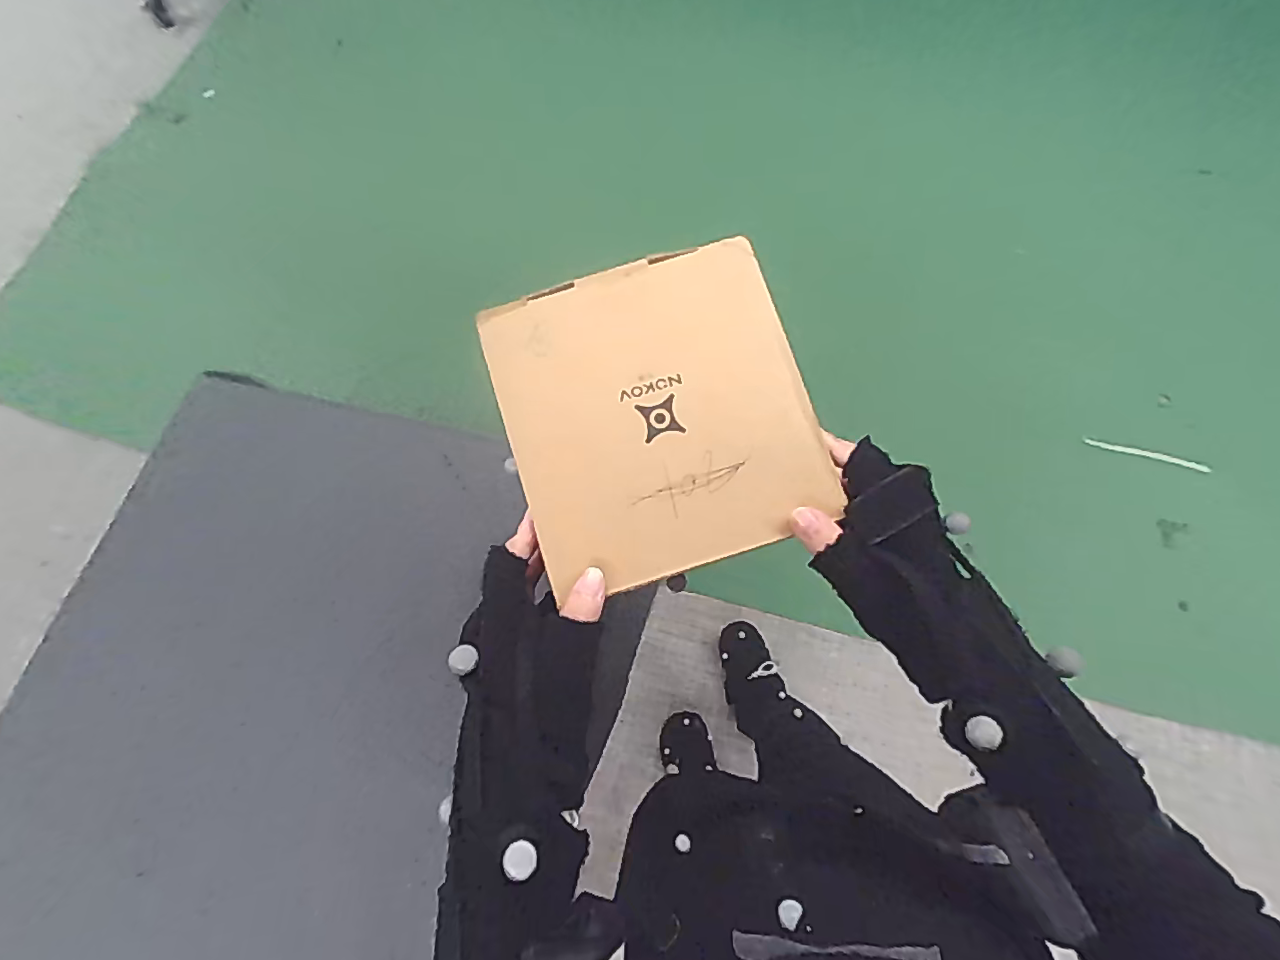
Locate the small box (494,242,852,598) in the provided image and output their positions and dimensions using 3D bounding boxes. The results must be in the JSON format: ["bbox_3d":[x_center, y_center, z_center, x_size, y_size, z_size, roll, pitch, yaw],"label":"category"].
[{"bbox_3d":[0.015,-0.026,0.382,0.168,0.176,0.179,-16,82,-2],"label":"small box"}]
